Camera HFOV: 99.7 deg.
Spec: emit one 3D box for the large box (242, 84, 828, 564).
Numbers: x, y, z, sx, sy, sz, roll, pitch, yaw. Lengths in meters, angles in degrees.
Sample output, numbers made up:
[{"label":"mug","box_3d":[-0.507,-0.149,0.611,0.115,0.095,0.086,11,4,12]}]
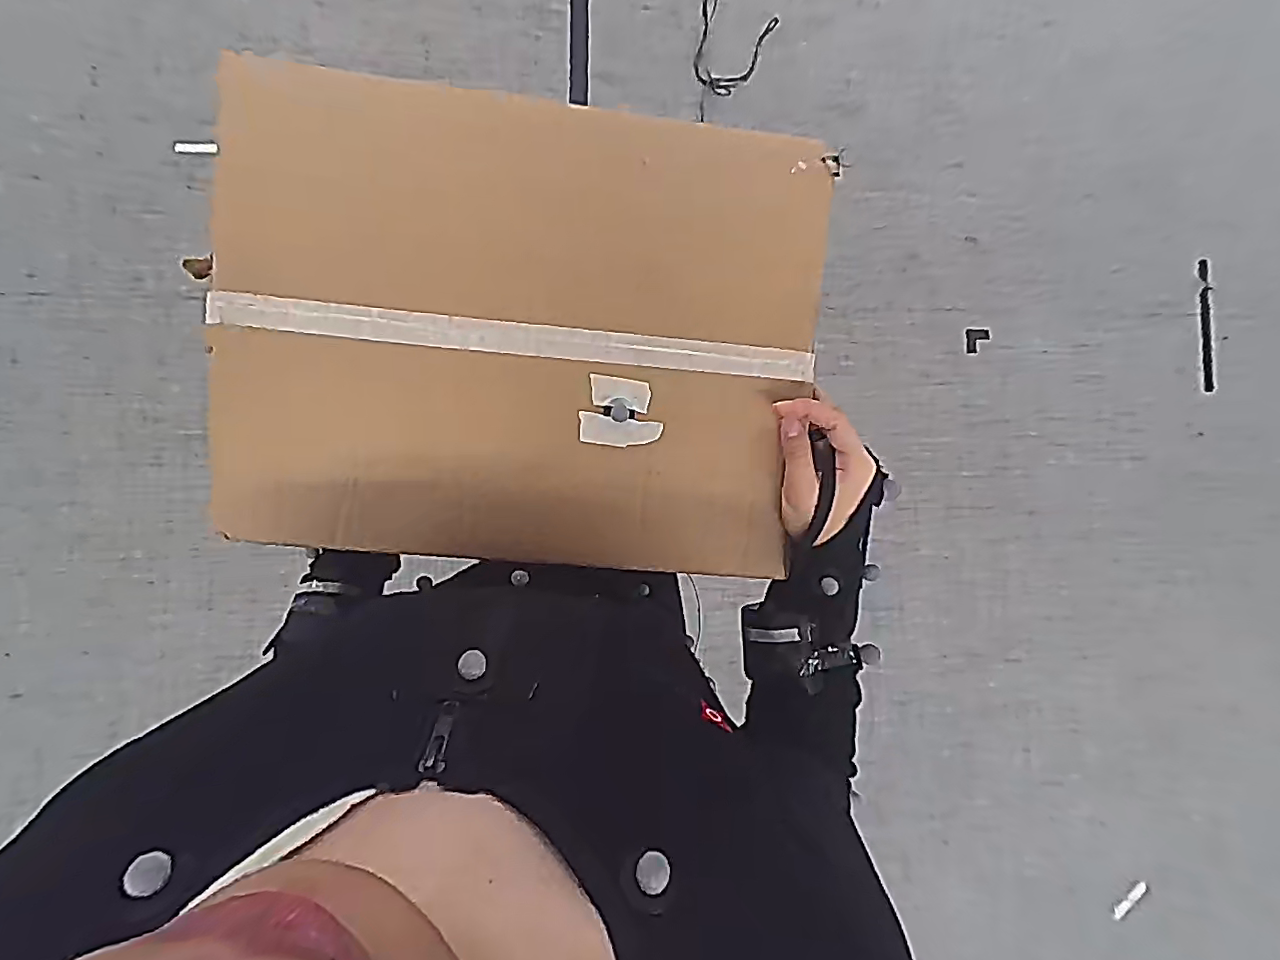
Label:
[{"label":"large box","box_3d":[-0.085,-0.110,0.532,0.408,0.320,0.320,4,95,-6]}]
